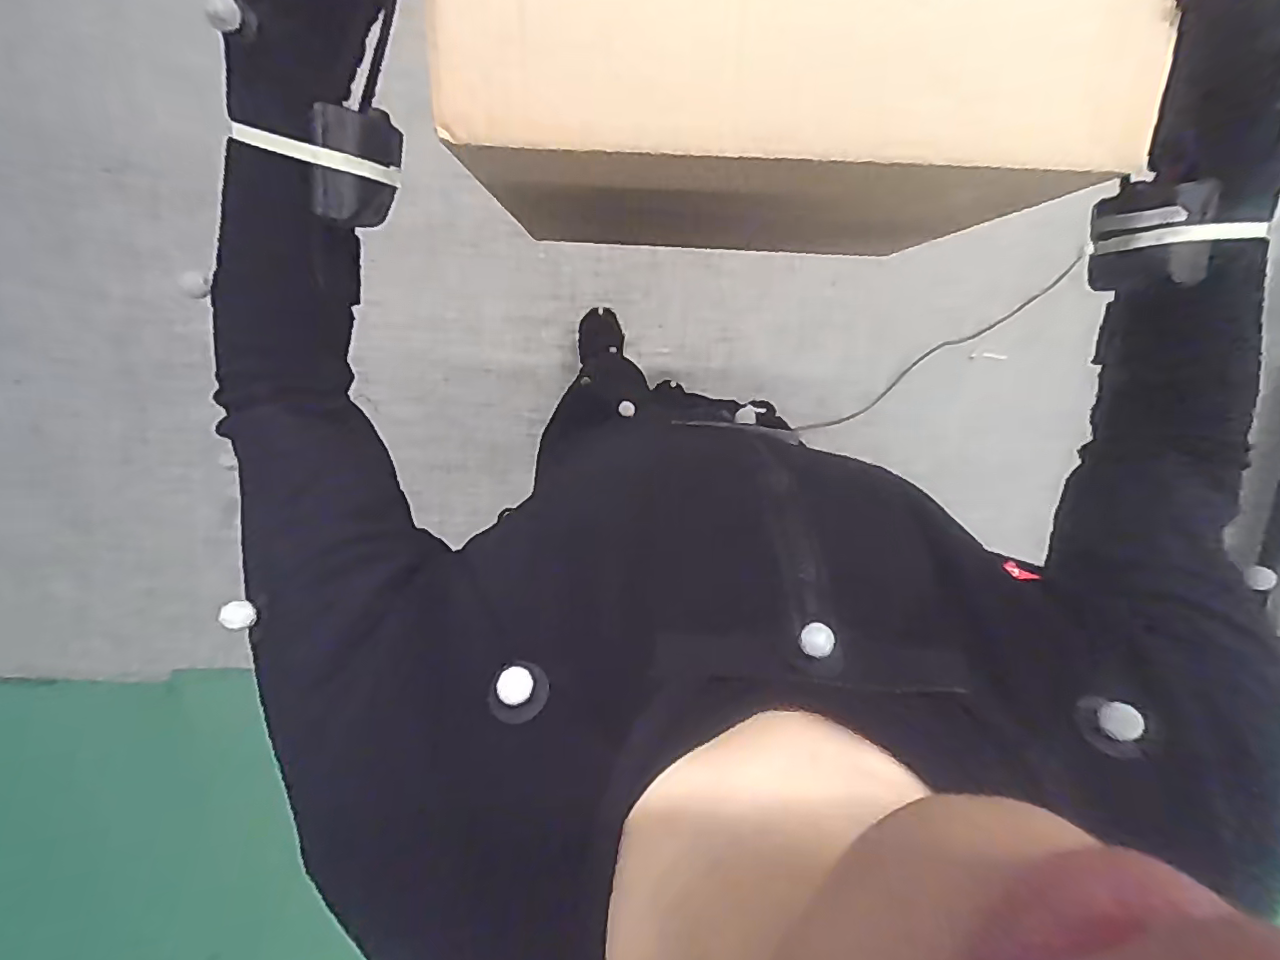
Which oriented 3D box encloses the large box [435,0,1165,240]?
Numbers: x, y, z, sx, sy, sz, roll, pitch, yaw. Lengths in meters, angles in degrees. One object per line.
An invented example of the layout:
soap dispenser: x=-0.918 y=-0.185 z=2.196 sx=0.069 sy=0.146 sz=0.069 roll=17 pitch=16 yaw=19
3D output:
large box: x=0.083 y=-0.378 z=0.414 sx=0.408 sy=0.320 sz=0.320 roll=1 pitch=105 yaw=-2
